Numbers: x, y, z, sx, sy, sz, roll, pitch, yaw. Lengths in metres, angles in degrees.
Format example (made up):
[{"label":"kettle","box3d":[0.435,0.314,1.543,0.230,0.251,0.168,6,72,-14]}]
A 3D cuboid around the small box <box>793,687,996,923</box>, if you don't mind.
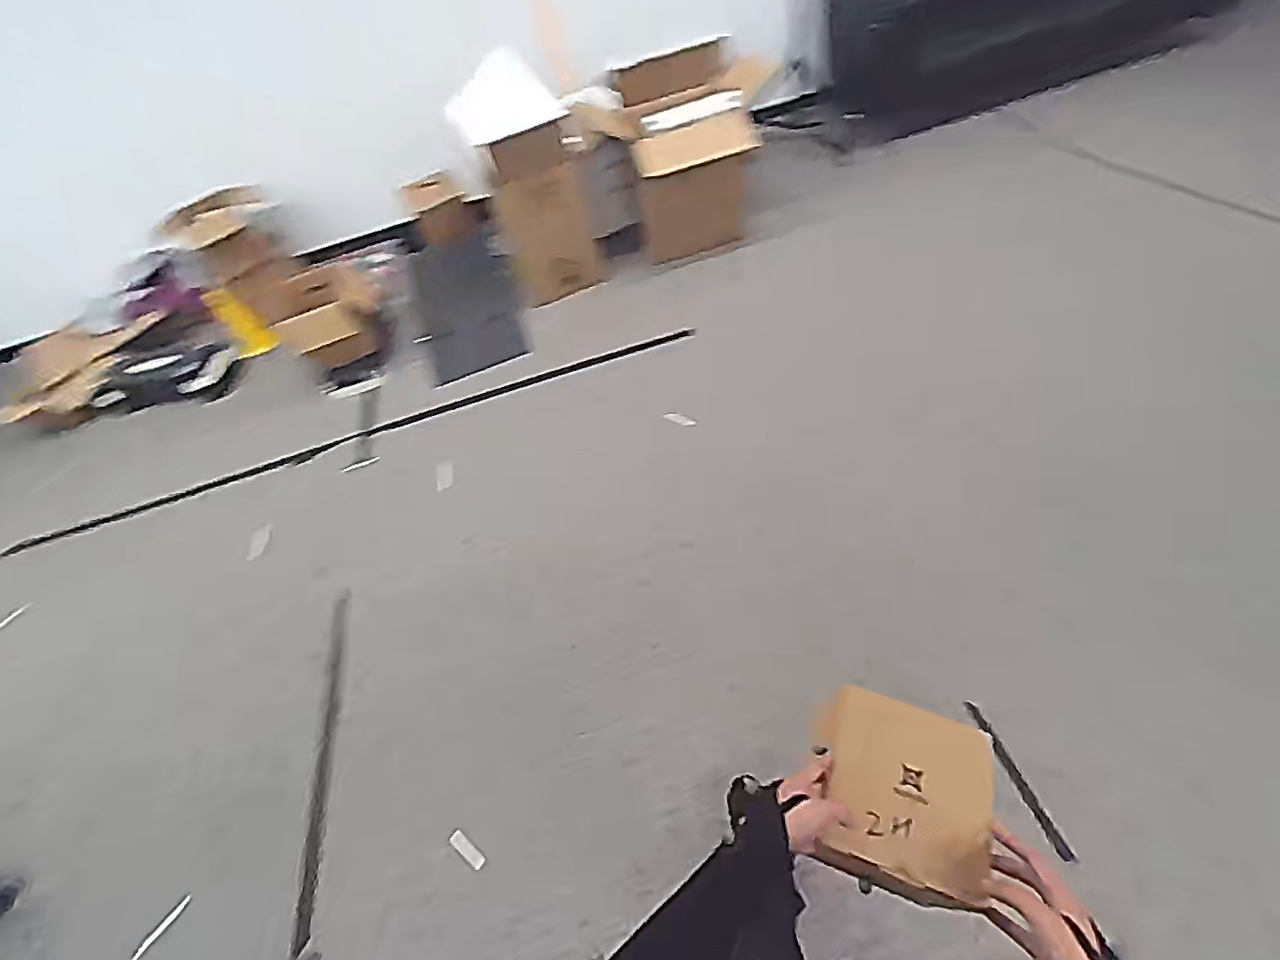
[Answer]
[{"label":"small box","box3d":[0.290,0.378,0.639,0.168,0.176,0.179,16,56,13]}]
